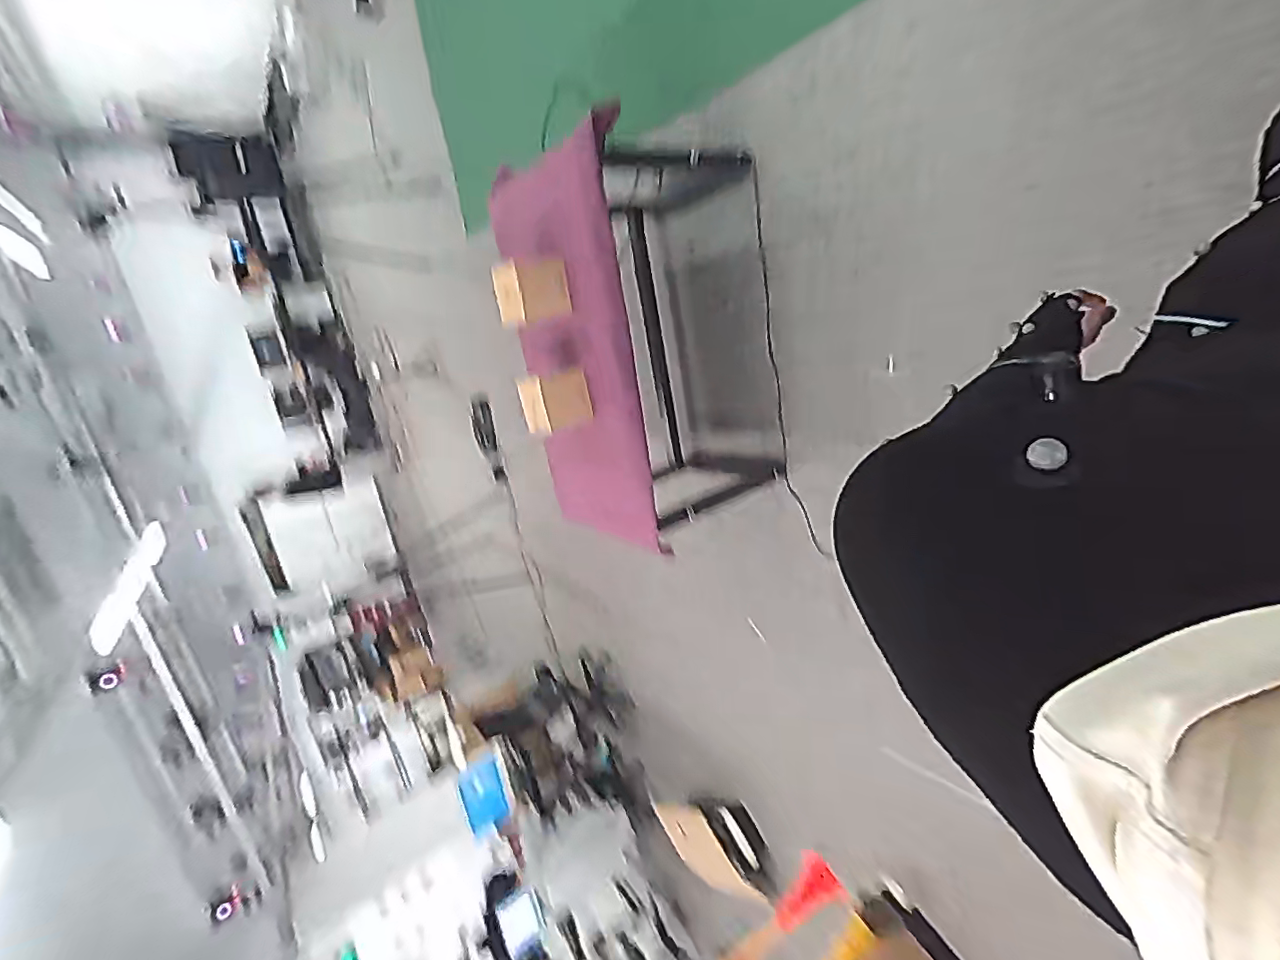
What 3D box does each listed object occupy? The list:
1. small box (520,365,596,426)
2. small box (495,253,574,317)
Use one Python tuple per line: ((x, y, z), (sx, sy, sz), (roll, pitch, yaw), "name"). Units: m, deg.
((-0.270, -0.281, 1.790), (0.168, 0.176, 0.179), (7, 112, 54), "small box")
((-0.330, -0.609, 1.697), (0.179, 0.176, 0.168), (15, 120, 51), "small box")
